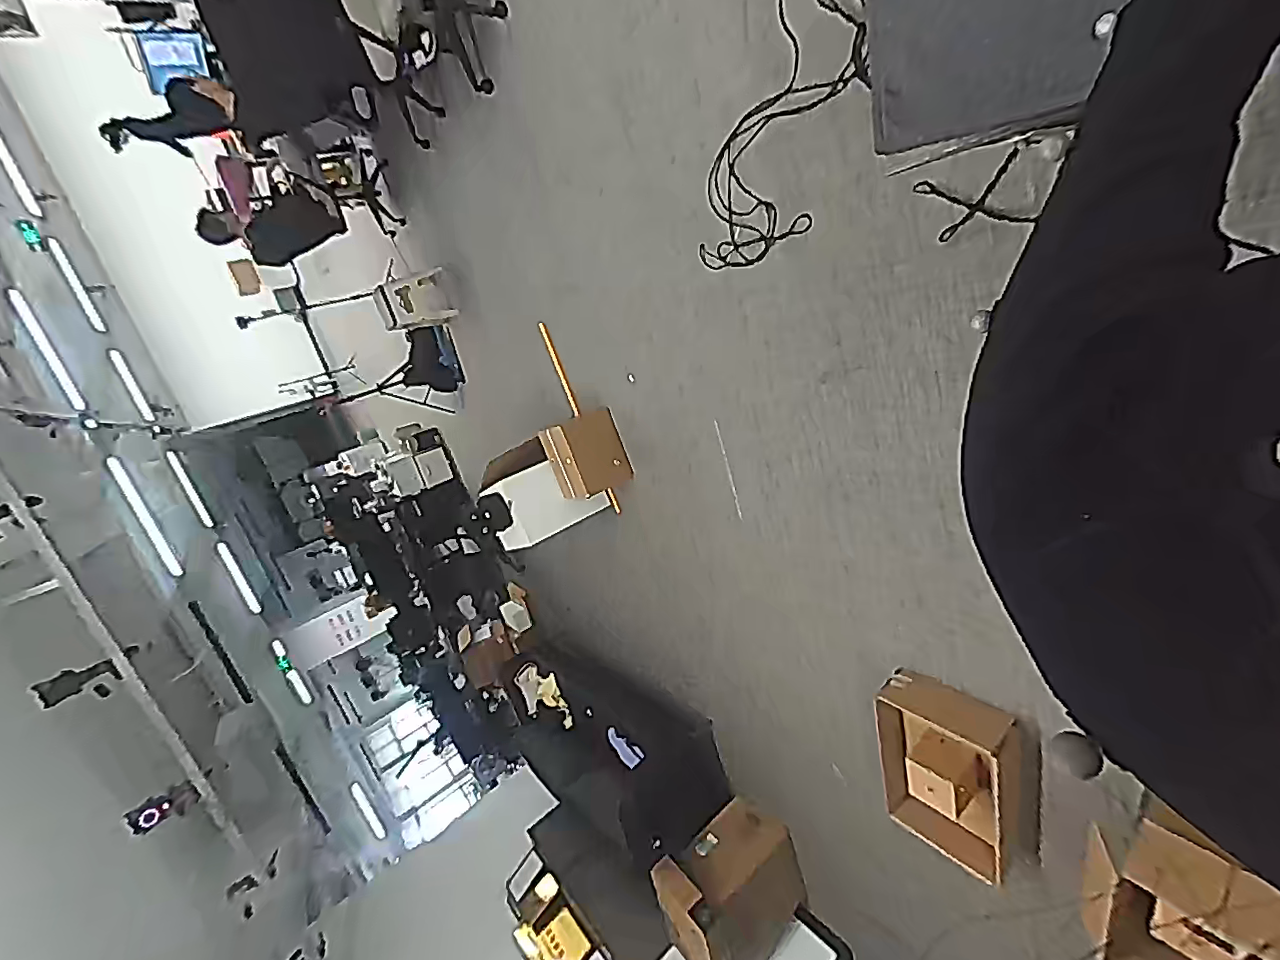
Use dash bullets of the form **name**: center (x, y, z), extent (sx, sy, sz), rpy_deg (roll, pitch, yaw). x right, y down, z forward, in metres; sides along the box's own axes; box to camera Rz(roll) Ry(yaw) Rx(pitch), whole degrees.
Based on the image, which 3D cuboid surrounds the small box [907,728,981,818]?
- **small box**: center (1.056, 1.007, 1.871), extent (0.168, 0.176, 0.179), rpy_deg (14, 125, 54)
